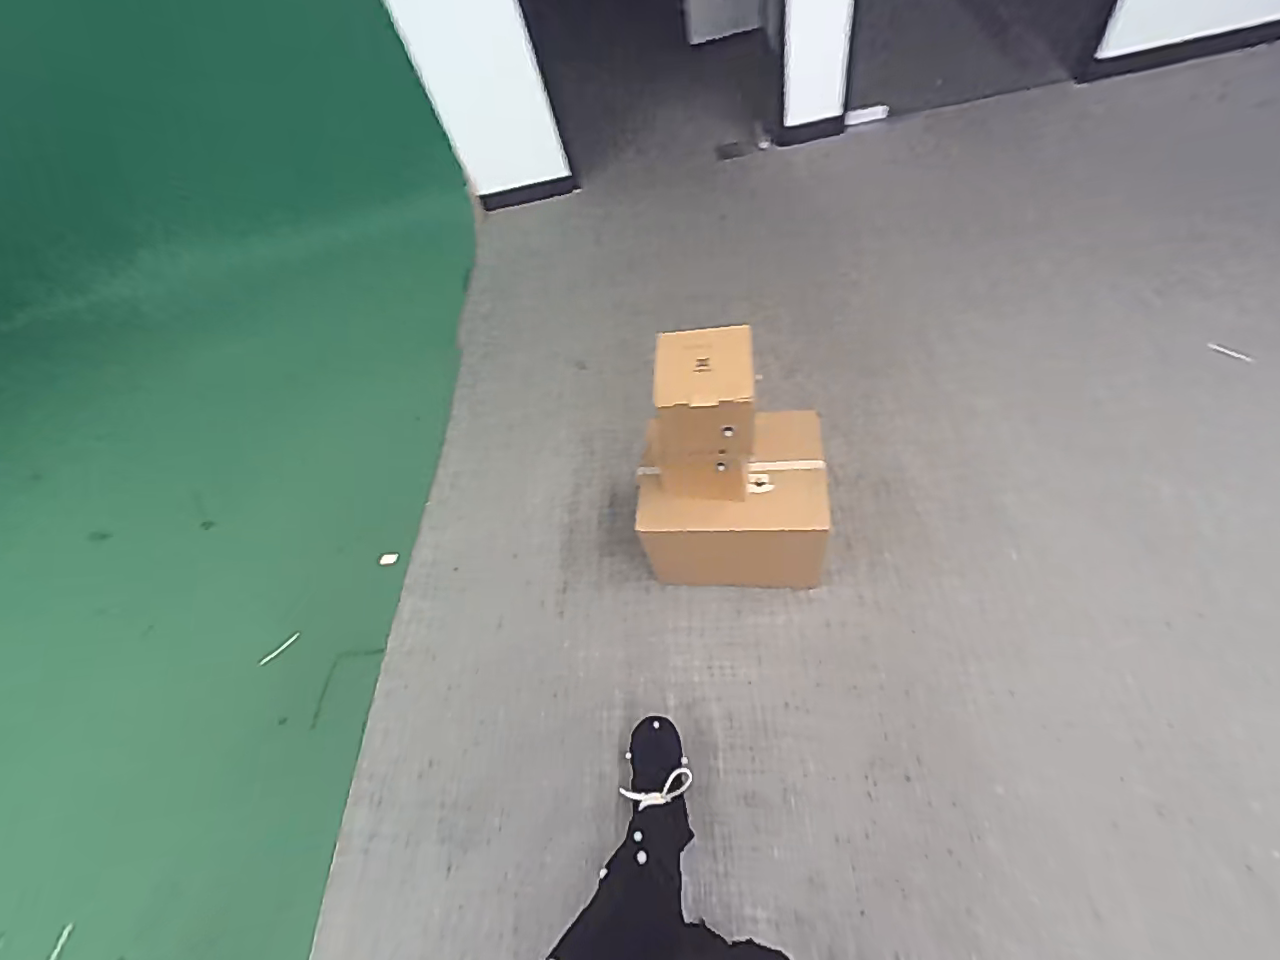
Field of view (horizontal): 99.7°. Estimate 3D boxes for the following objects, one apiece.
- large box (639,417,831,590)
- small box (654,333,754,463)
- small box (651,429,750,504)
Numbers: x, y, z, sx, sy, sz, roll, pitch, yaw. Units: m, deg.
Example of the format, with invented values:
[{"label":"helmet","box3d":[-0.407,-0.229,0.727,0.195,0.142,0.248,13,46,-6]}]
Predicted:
[{"label":"large box","box3d":[0.225,0.070,1.322,0.408,0.320,0.320,-1,58,11]},{"label":"small box","box3d":[0.121,-0.142,0.993,0.168,0.176,0.179,-3,55,9]},{"label":"small box","box3d":[0.135,-0.061,1.134,0.179,0.176,0.168,3,58,15]}]
